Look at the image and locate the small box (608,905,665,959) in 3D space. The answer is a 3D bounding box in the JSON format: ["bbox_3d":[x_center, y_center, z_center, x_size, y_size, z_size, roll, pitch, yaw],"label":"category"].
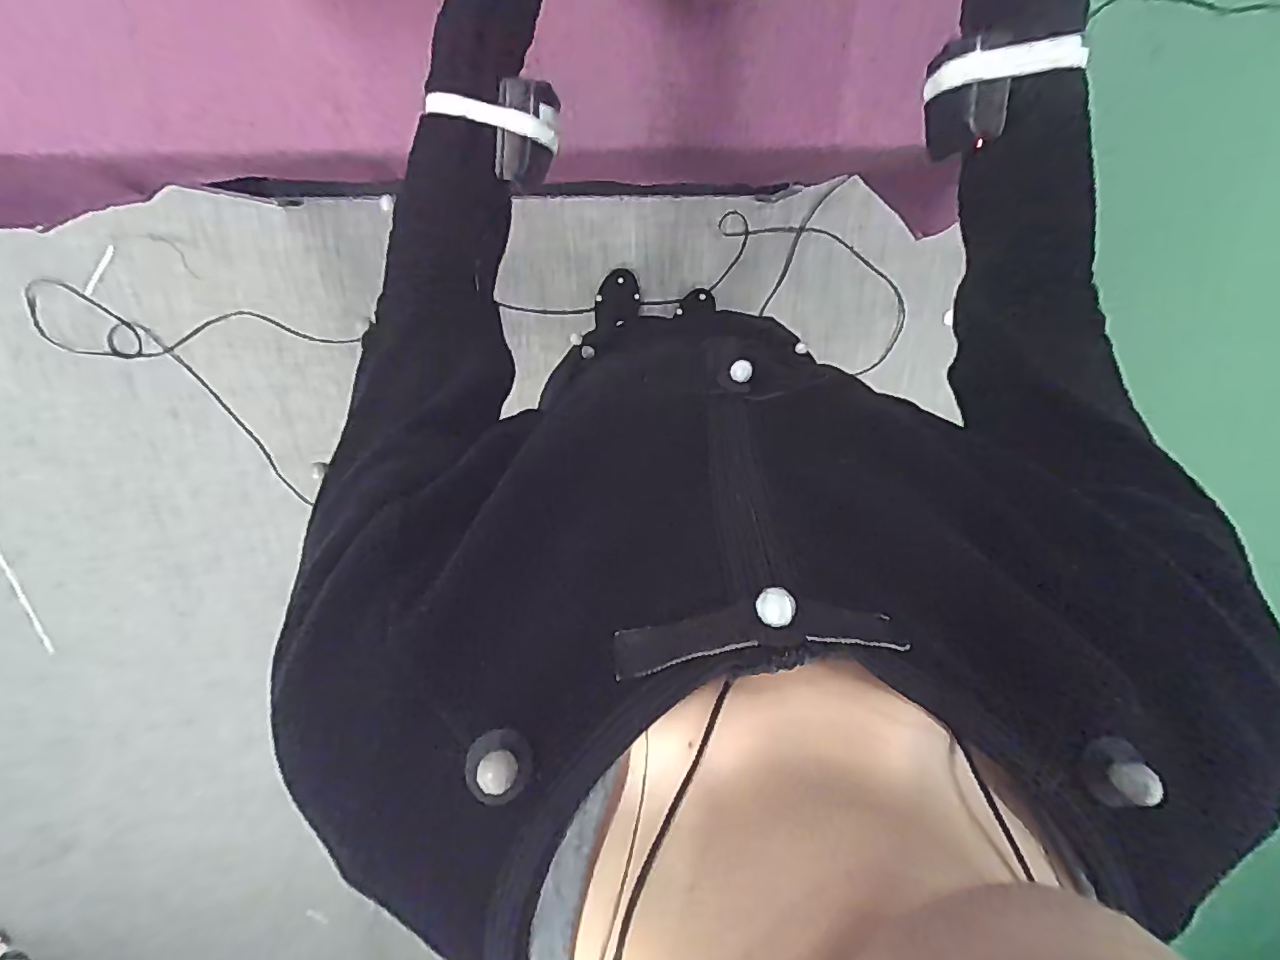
[{"bbox_3d":[-0.016,1.674,1.952,0.179,0.176,0.168,5,110,-8],"label":"small box"}]

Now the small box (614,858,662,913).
[{"bbox_3d":[-0.013,1.618,2.108,0.168,0.176,0.179,5,110,-7],"label":"small box"}]
